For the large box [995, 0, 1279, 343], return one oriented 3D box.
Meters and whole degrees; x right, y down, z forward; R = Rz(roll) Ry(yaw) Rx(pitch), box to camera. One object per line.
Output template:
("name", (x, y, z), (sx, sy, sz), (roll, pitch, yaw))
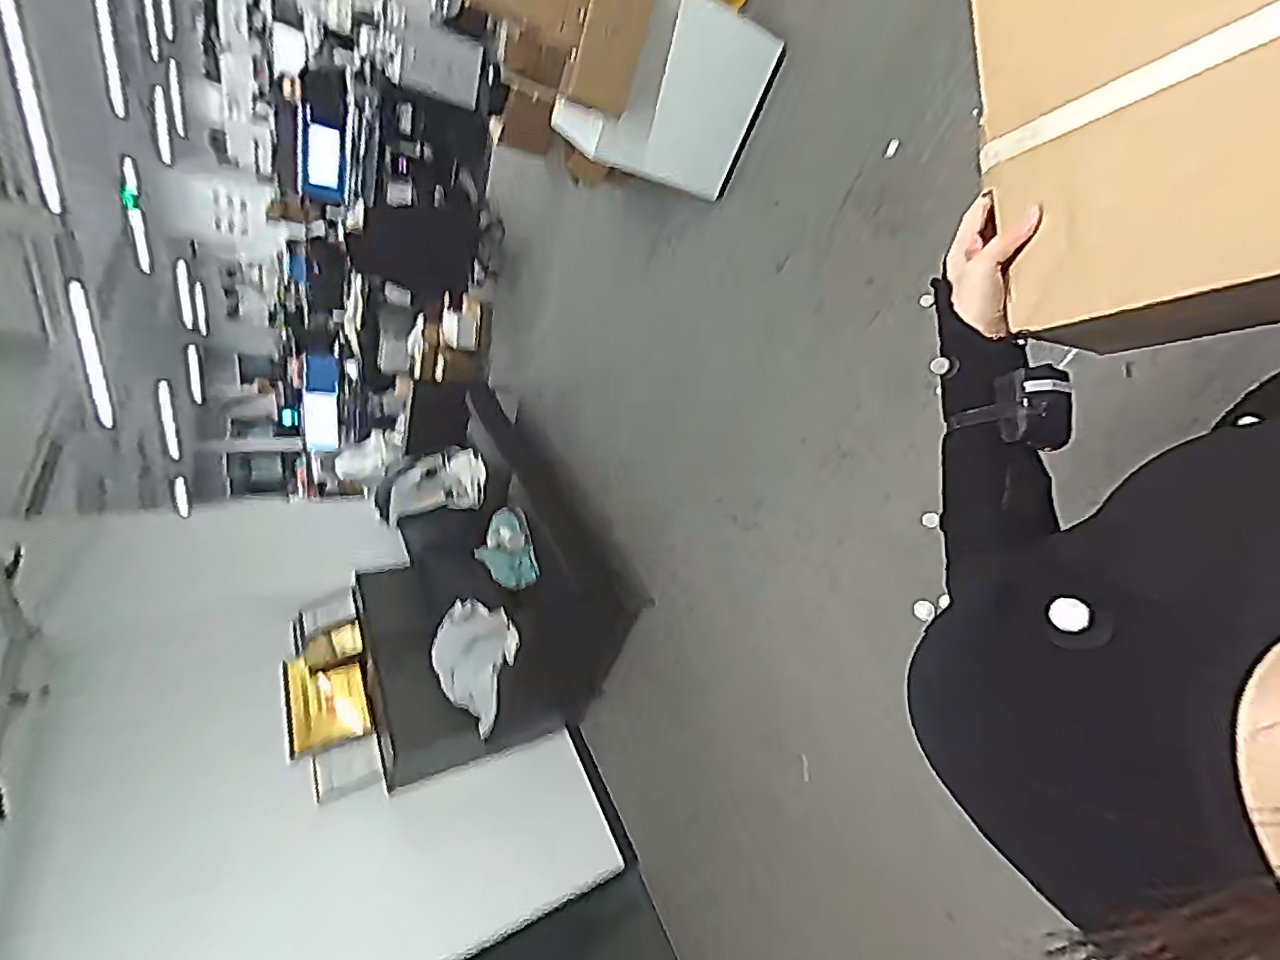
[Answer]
("large box", (0.551, -0.314, 0.400), (0.408, 0.320, 0.320), (-5, 91, 50))
